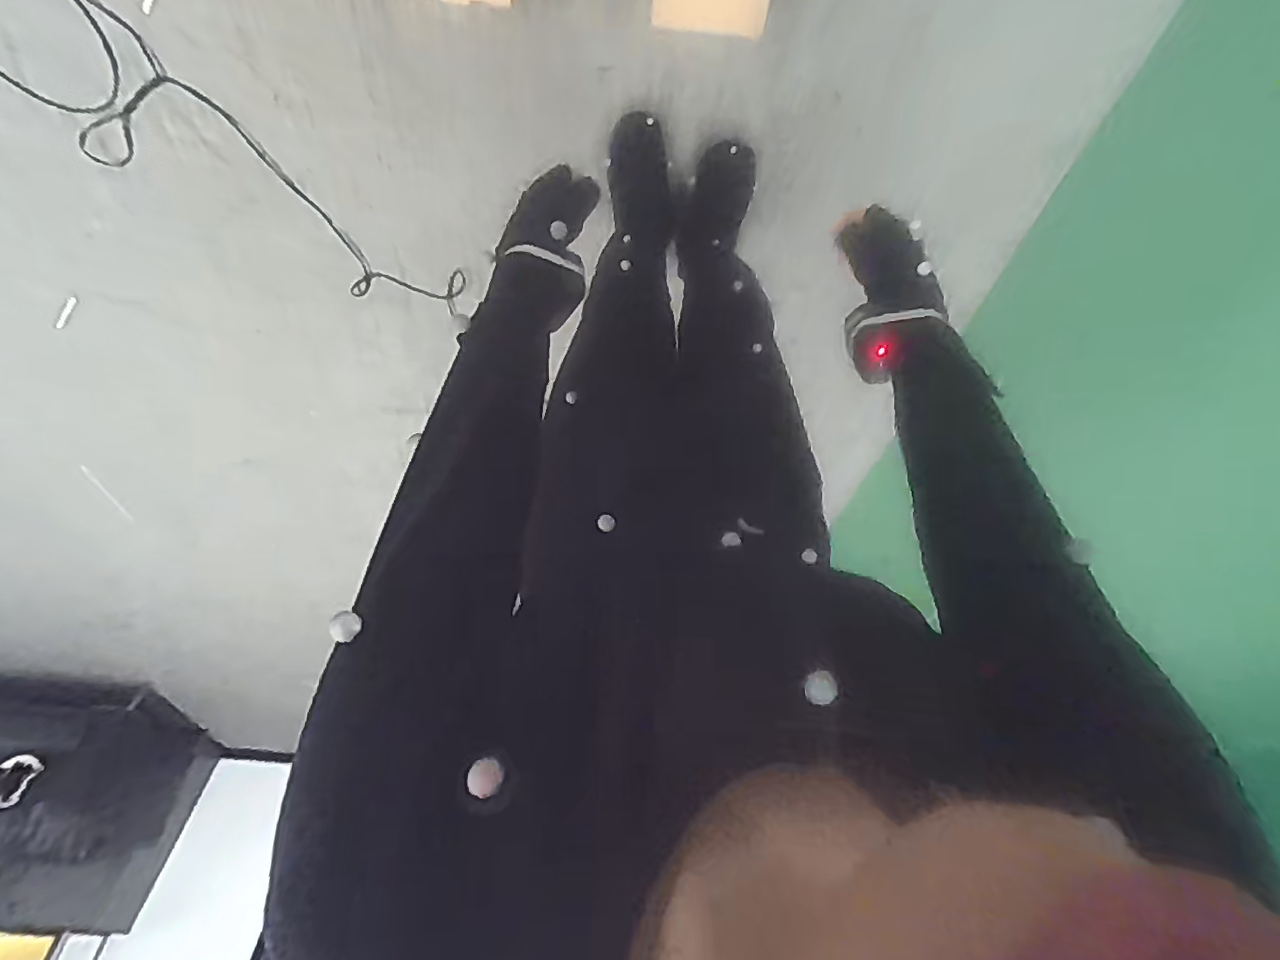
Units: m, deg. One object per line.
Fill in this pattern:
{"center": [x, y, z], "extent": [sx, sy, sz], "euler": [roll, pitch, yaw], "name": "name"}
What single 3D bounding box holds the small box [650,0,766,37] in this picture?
{"center": [0.107, -0.775, 0.782], "extent": [0.168, 0.176, 0.179], "euler": [5, 137, -2], "name": "small box"}
